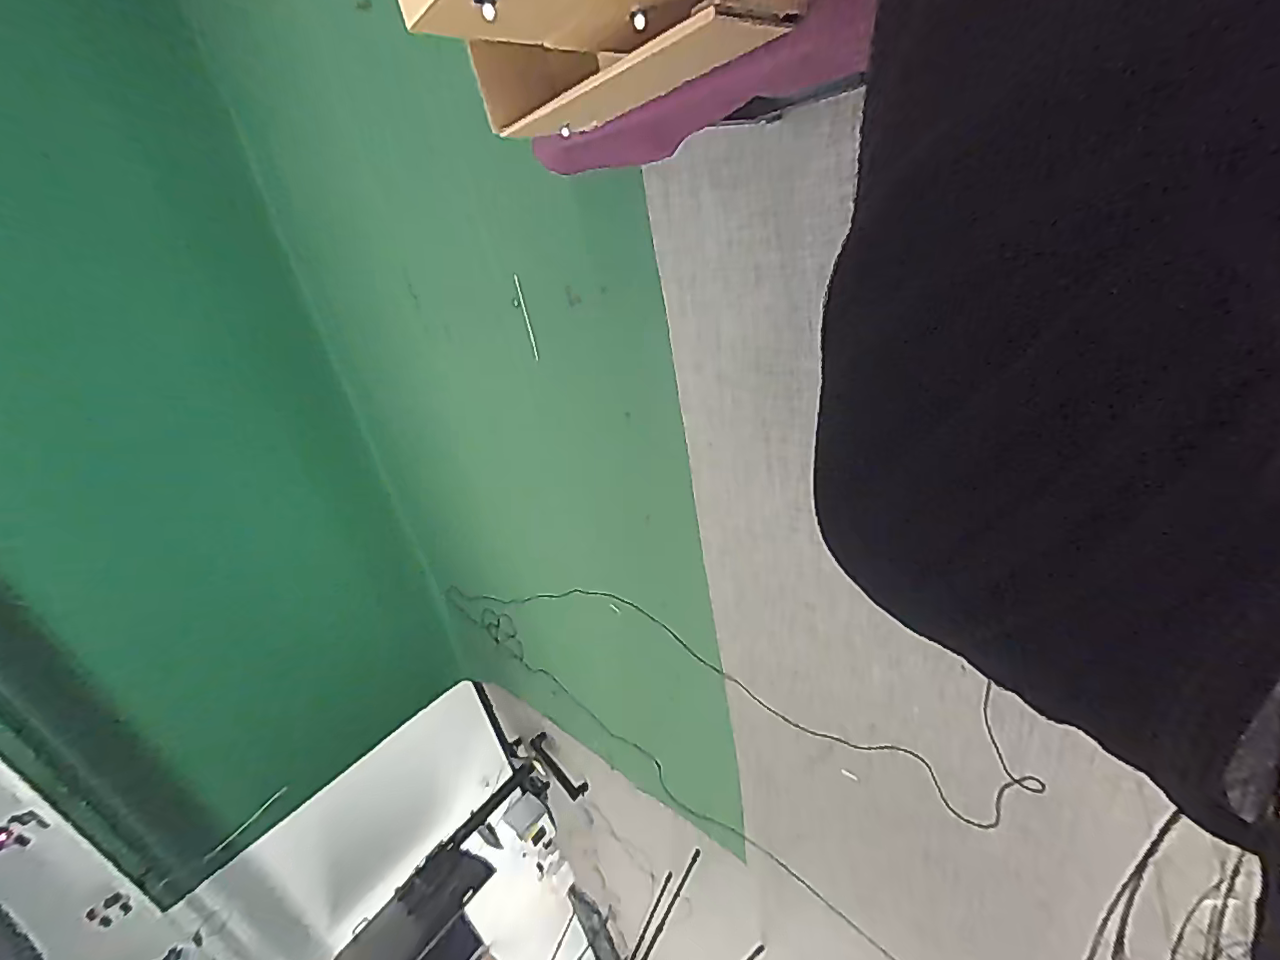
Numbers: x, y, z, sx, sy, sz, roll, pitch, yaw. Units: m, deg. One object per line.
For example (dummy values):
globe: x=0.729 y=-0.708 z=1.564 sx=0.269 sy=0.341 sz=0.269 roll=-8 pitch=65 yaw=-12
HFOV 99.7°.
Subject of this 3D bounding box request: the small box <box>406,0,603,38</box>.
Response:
small box: x=-0.119 y=-0.533 z=0.488 sx=0.179 sy=0.176 sz=0.168 roll=10 pitch=123 yaw=42
